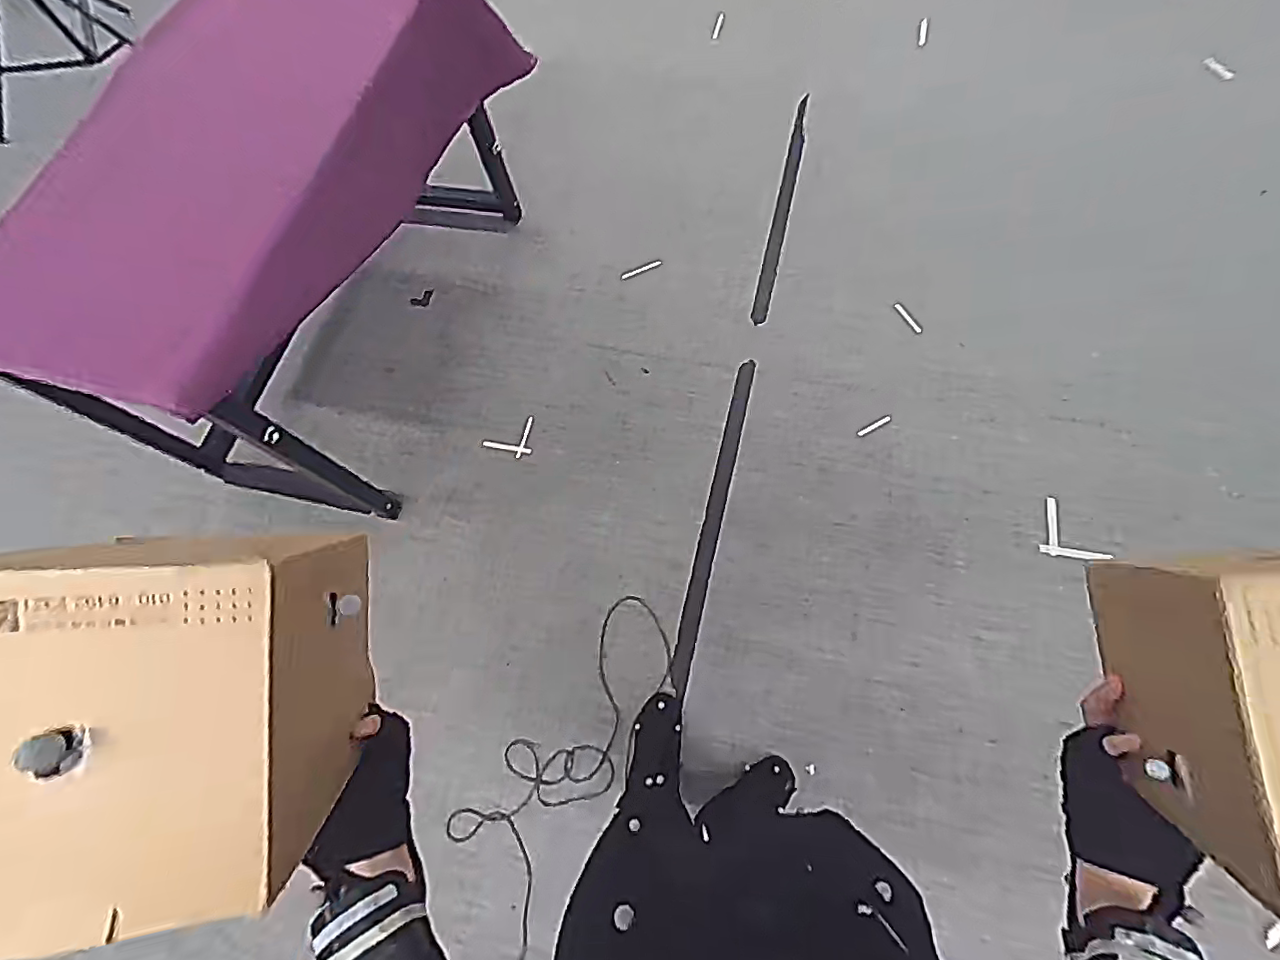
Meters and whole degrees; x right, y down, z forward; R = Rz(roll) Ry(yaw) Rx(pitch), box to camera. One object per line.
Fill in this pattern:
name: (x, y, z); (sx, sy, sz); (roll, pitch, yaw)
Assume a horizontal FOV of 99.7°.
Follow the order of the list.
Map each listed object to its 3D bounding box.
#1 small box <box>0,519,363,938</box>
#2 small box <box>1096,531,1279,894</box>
small box: (-0.273, 0.113, 0.313); (0.168, 0.179, 0.176); (0, 88, -13)
small box: (0.396, 0.113, 0.302); (0.168, 0.179, 0.176); (-7, 81, 21)
